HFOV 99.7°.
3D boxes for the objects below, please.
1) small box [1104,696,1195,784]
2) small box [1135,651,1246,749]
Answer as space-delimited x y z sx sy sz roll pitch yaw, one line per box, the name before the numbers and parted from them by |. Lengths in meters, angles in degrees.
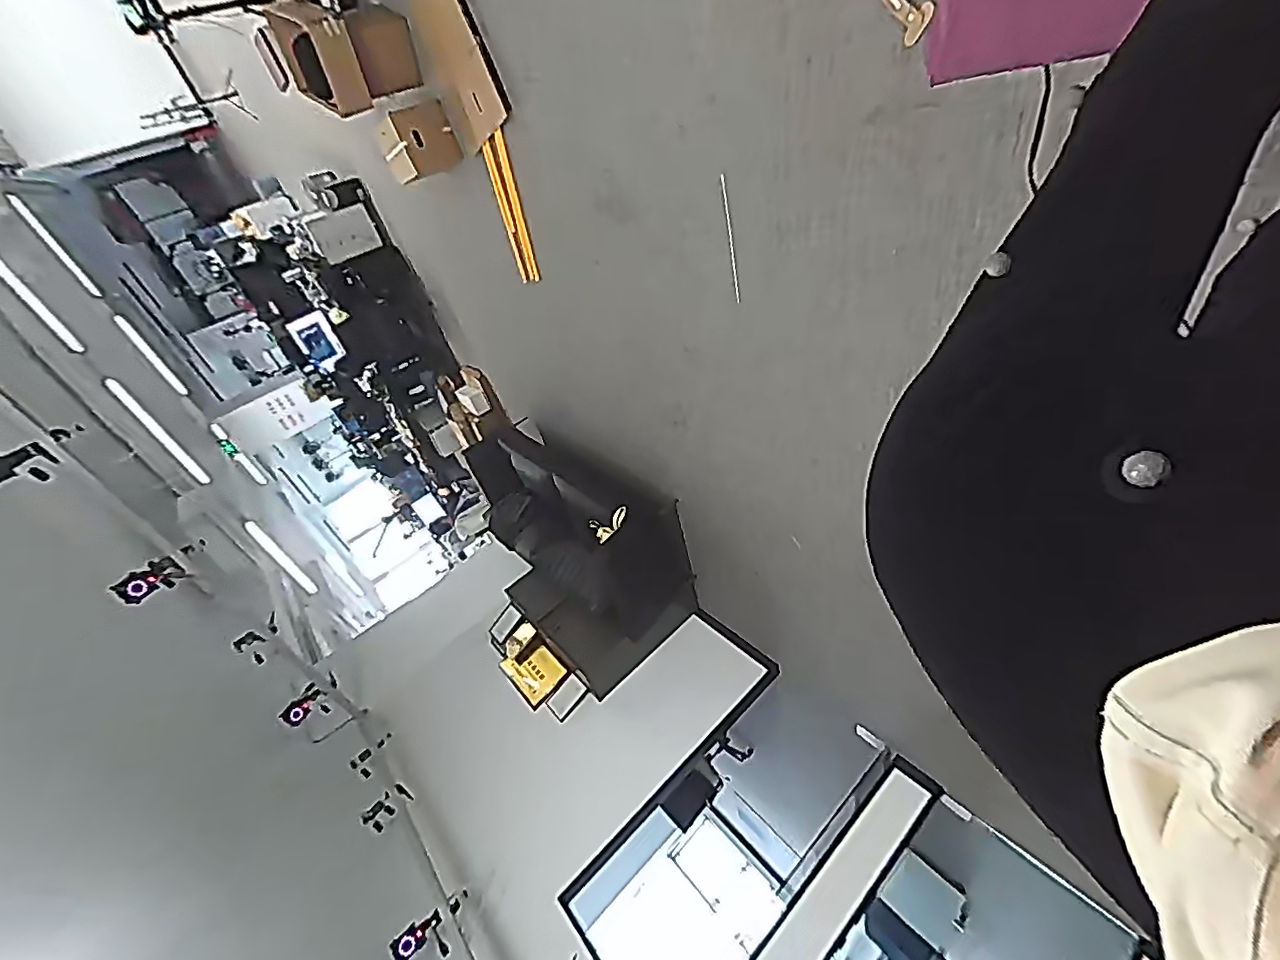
small box | 1.705 0.857 1.798 0.168 0.176 0.179 33 150 41
small box | 1.647 0.653 1.618 0.168 0.176 0.179 32 149 41
